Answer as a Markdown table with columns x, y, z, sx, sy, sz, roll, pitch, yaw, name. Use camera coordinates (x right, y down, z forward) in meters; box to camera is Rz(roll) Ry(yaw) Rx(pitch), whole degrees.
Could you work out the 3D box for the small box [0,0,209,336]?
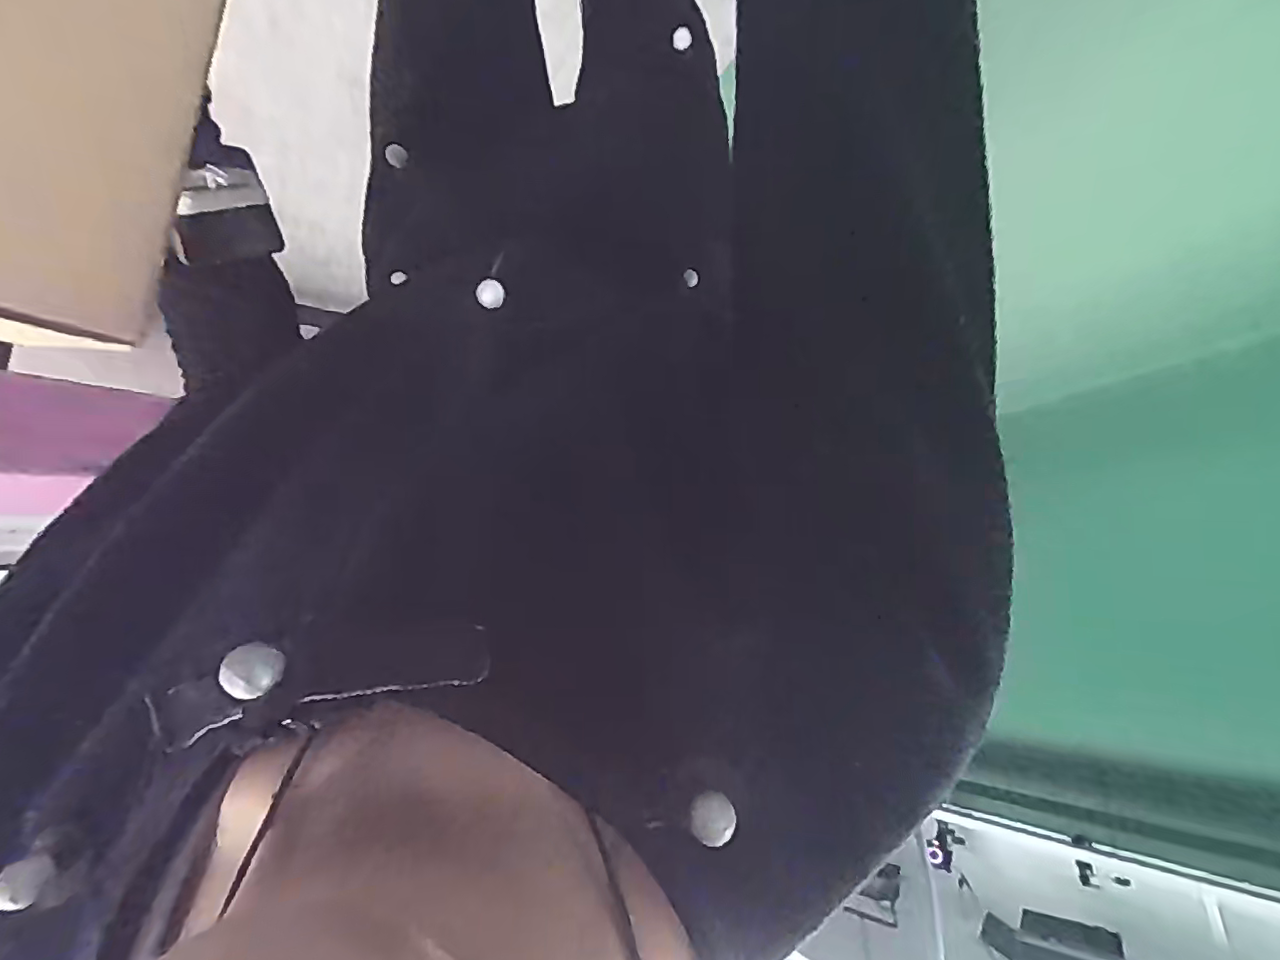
| x | y | z | sx | sy | sz | roll | pitch | yaw | name |
| --- | --- | --- | --- | --- | --- | --- | --- | --- | --- |
| -0.250 | -0.150 | 0.140 | 0.168 | 0.176 | 0.179 | 10 | 177 | 31 | small box |
